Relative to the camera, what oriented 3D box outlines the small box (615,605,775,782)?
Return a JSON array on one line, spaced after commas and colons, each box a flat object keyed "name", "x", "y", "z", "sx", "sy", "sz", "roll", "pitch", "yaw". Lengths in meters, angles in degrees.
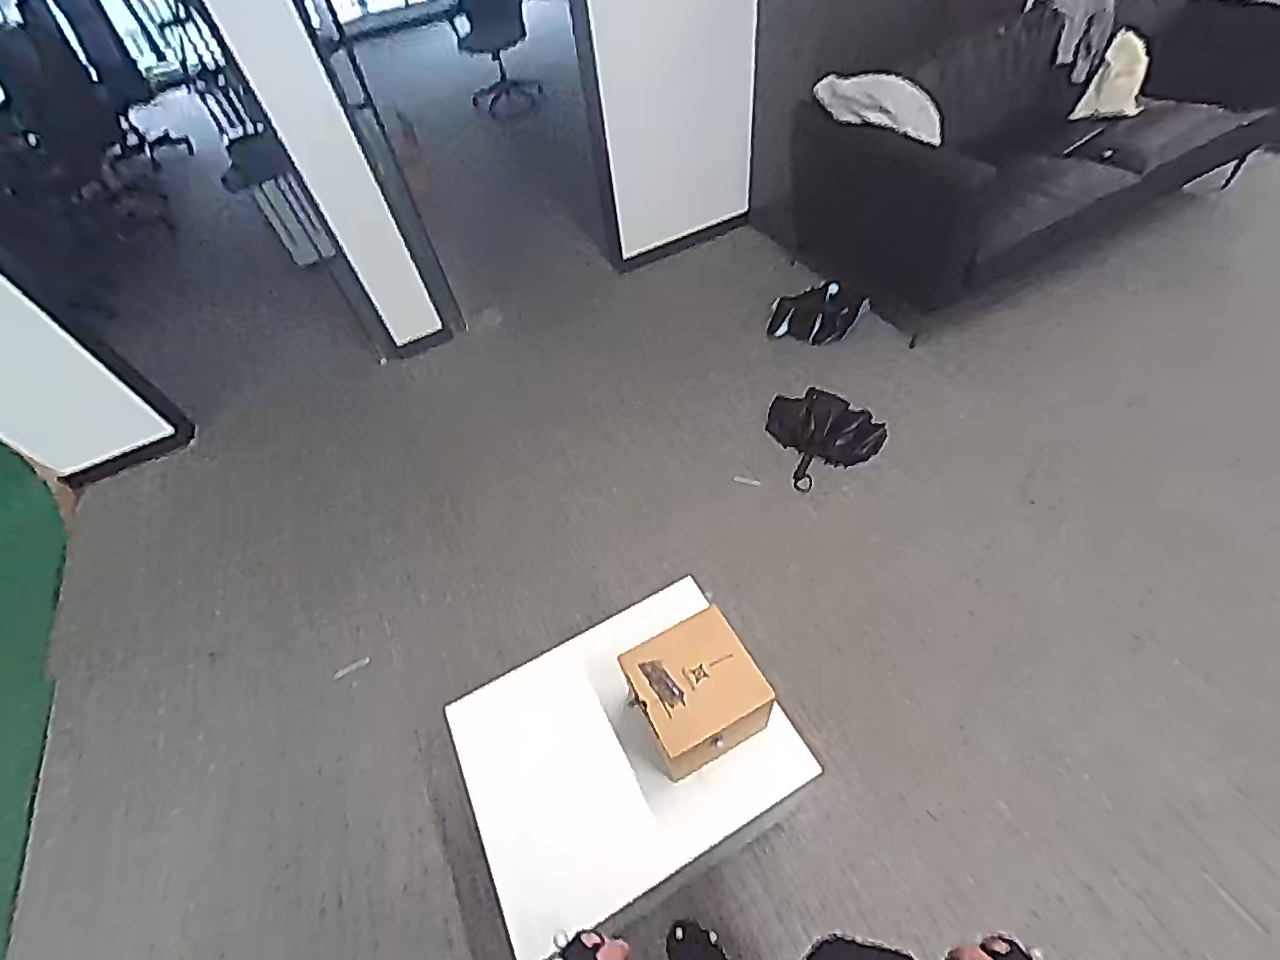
[{"name": "small box", "x": 0.080, "y": 0.329, "z": 0.826, "sx": 0.179, "sy": 0.176, "sz": 0.168, "roll": -24, "pitch": 53, "yaw": -16}]
